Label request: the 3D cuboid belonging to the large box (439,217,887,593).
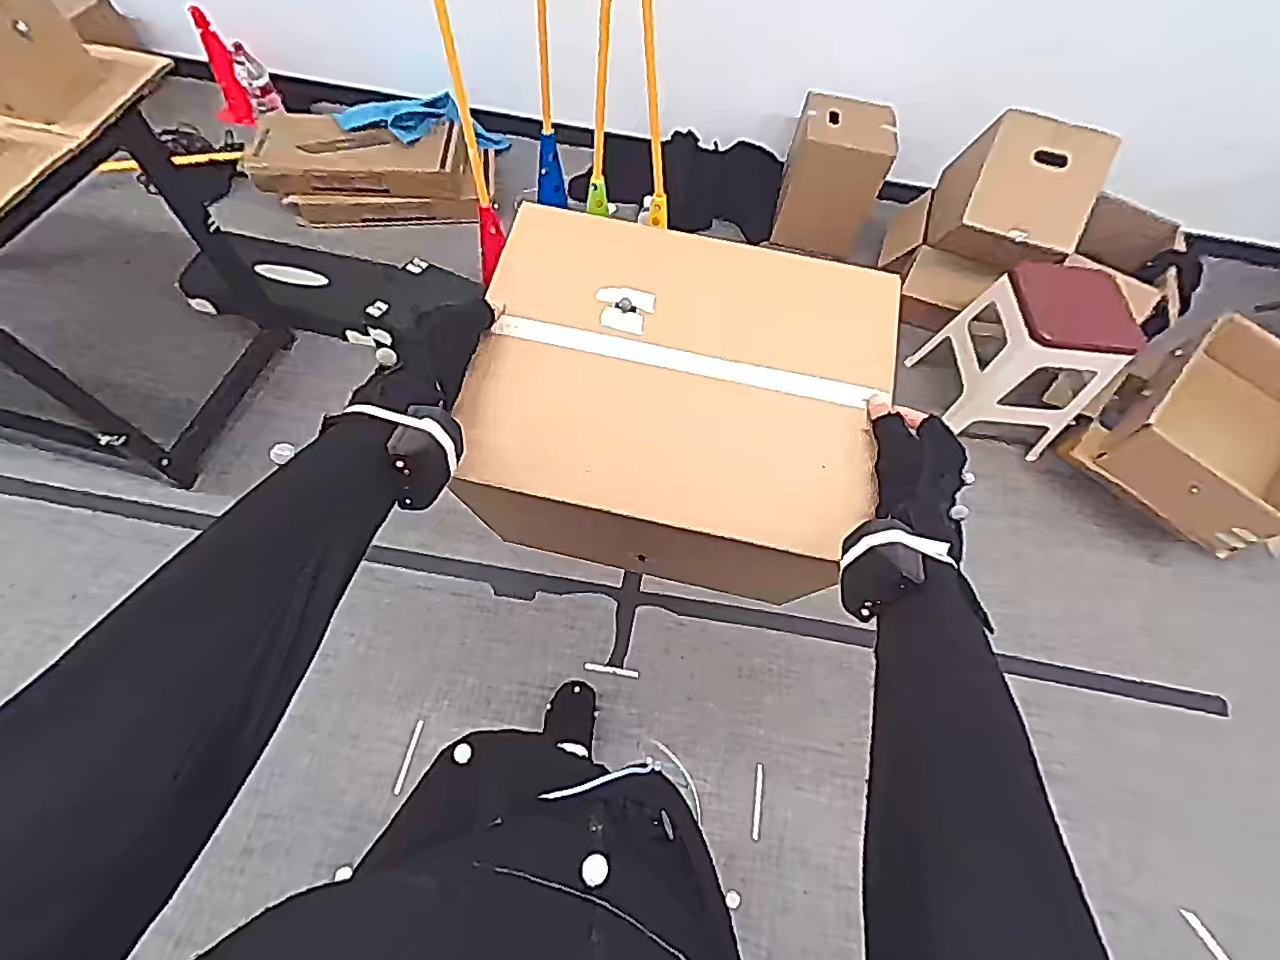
[{"bbox_3d":[0.038,-0.063,0.677,0.408,0.320,0.320,13,71,4],"label":"large box"}]
